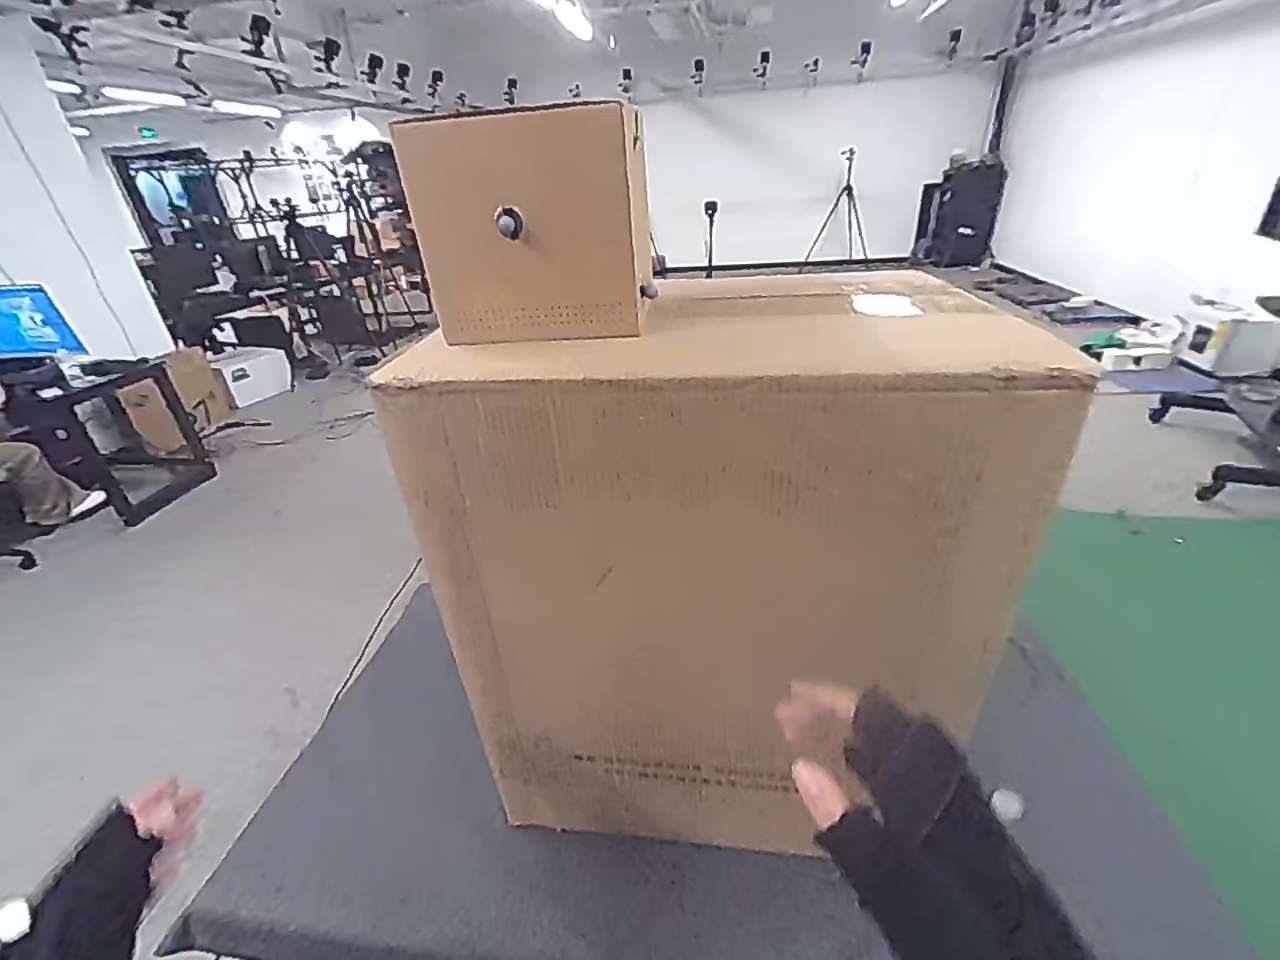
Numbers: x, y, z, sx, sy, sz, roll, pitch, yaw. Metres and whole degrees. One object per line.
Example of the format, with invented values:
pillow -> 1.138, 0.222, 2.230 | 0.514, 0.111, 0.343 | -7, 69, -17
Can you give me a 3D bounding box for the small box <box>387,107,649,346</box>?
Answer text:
small box -> -0.087, -0.231, 0.497 | 0.179, 0.176, 0.168 | -2, 32, 7
